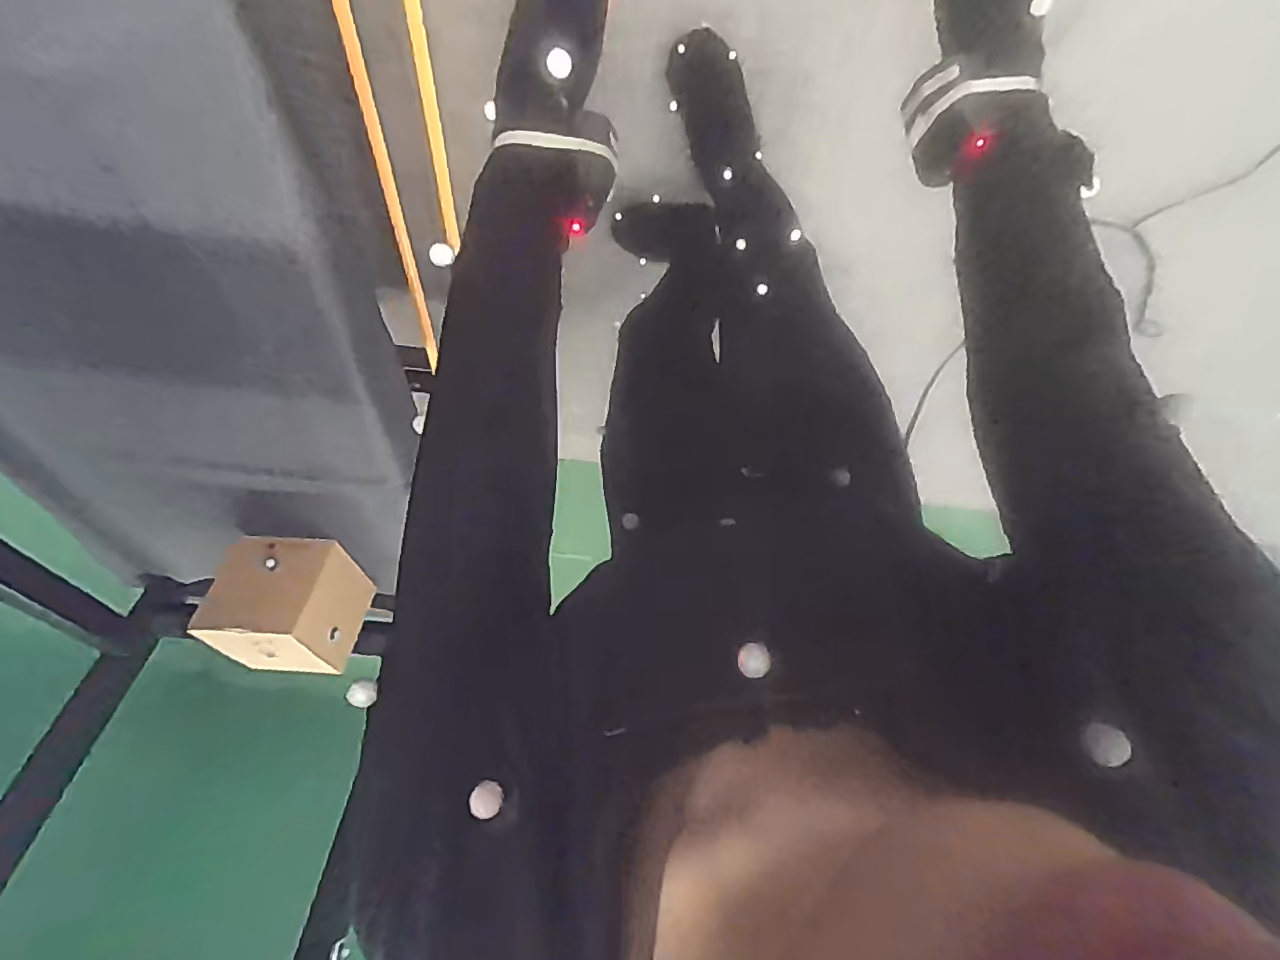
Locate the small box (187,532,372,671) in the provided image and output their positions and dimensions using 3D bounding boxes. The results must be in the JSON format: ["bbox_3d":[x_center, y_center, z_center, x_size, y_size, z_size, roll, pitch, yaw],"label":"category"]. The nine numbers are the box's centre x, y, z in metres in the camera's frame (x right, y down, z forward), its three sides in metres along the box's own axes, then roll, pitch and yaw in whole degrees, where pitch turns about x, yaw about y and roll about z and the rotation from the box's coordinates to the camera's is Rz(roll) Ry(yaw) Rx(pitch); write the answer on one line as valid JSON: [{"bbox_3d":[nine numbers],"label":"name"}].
[{"bbox_3d":[-0.590,0.207,0.919,0.168,0.176,0.179,2,142,3],"label":"small box"}]
